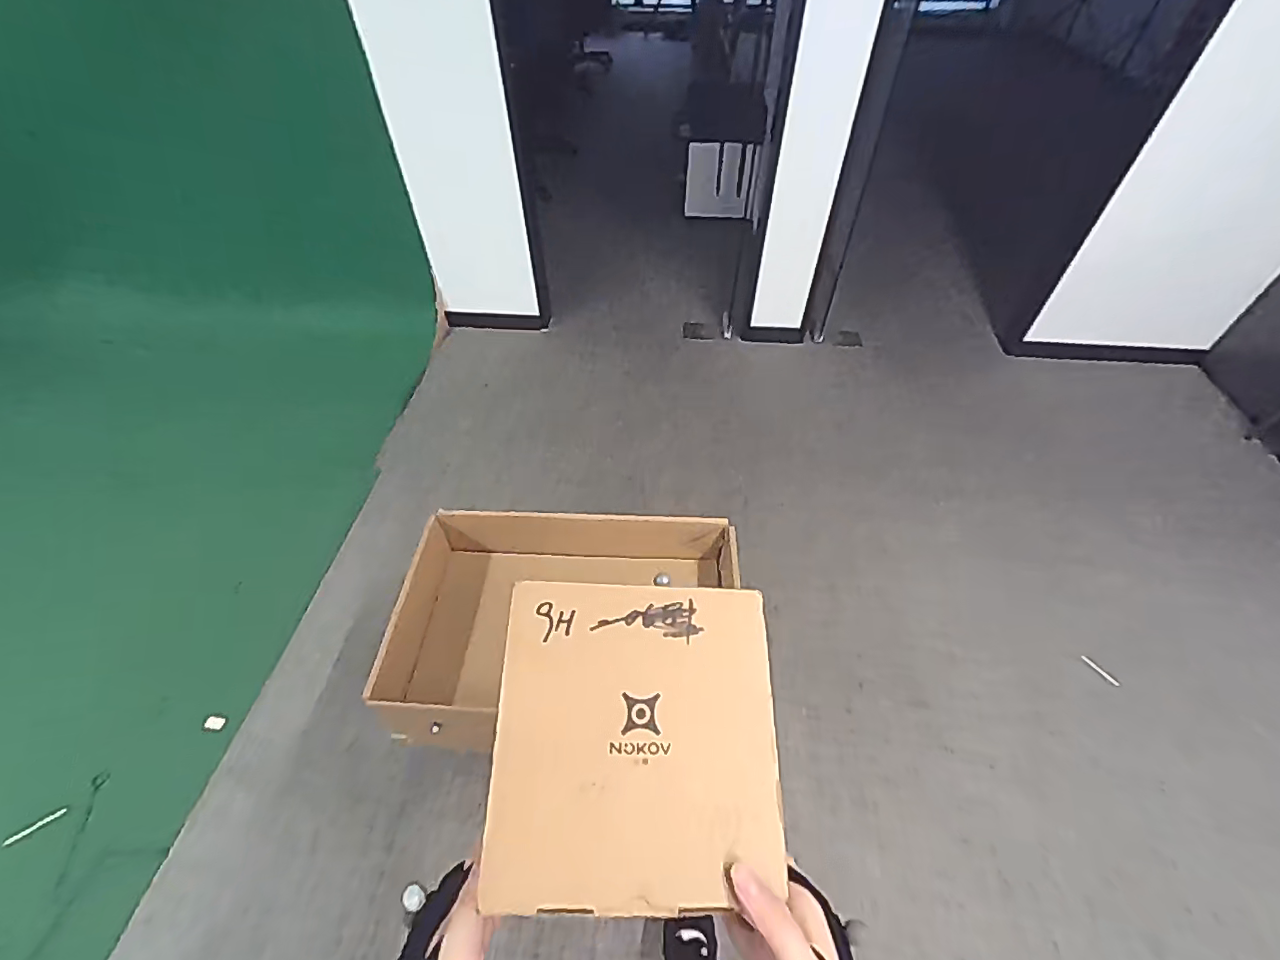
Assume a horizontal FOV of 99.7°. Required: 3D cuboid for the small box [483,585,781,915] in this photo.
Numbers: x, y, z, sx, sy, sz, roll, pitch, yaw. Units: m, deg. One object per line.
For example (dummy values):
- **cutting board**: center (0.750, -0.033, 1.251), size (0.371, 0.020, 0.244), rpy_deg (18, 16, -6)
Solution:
- **small box**: center (-0.009, 0.187, 0.397), size (0.168, 0.176, 0.179), rpy_deg (4, 64, -6)
